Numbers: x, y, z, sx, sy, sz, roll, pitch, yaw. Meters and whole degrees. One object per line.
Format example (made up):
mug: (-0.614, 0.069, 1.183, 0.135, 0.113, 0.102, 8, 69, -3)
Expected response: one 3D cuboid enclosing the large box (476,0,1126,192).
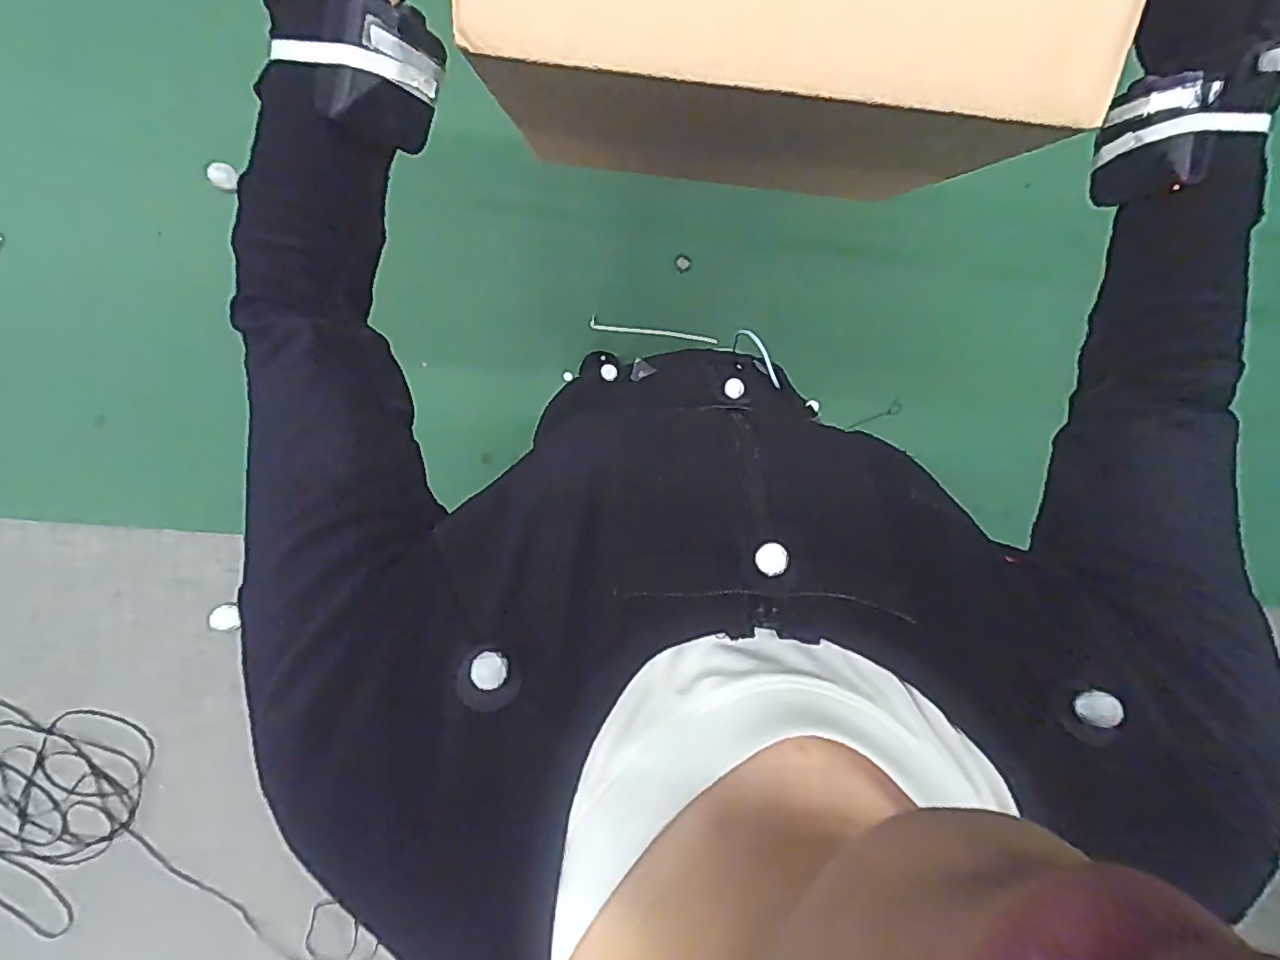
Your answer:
large box: (0.102, -0.443, 0.430, 0.408, 0.320, 0.320, 5, 110, -4)
